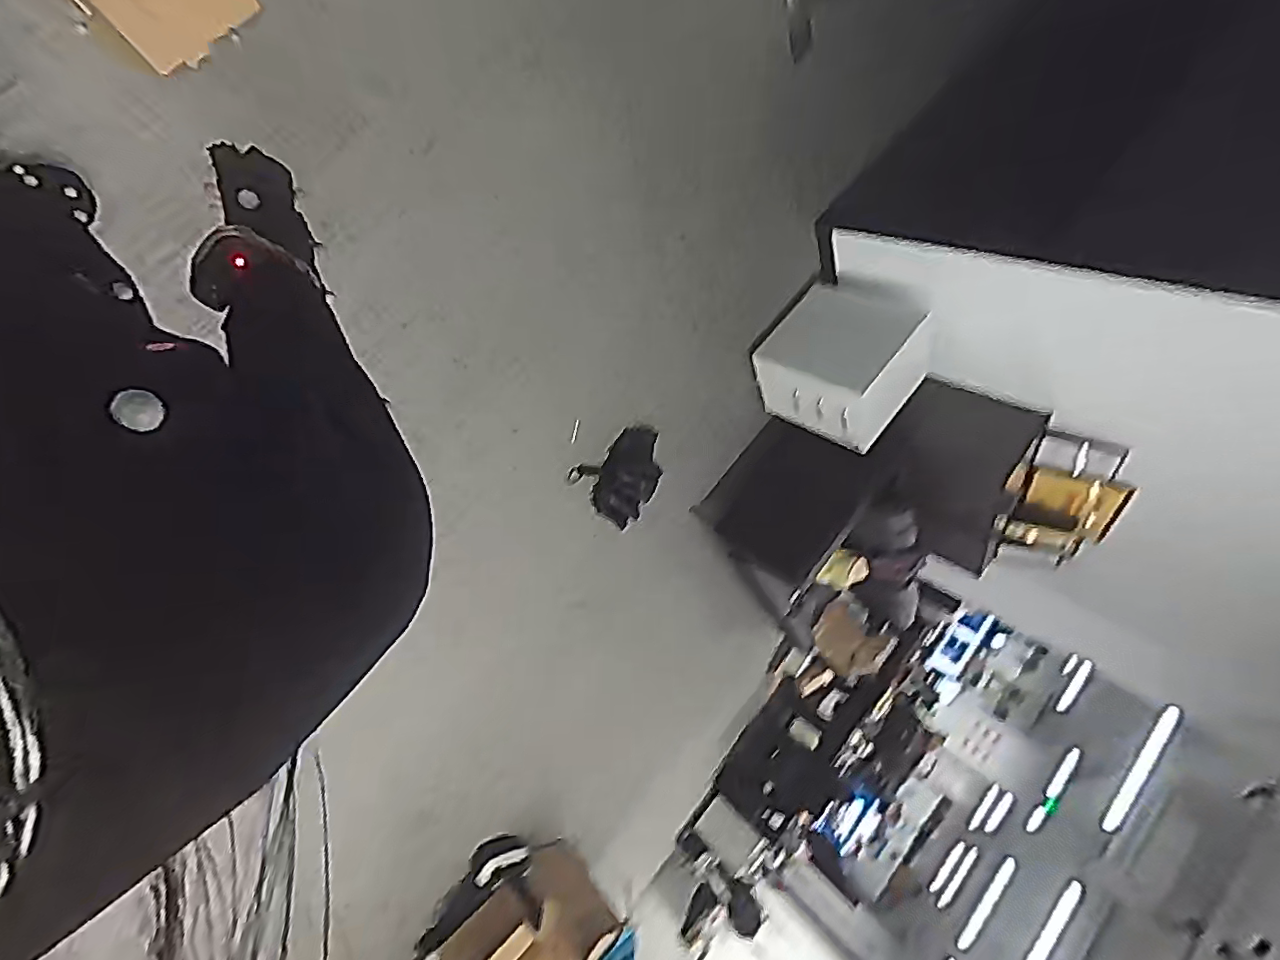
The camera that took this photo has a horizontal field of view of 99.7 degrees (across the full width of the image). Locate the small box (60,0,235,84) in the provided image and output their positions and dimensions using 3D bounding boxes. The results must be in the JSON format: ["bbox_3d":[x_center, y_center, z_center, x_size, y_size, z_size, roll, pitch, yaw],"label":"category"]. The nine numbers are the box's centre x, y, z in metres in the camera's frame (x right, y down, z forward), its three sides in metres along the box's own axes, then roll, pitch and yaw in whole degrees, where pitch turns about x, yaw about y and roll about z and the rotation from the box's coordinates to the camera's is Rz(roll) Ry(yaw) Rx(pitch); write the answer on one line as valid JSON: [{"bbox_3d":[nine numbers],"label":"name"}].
[{"bbox_3d":[-0.786,-0.753,0.837,0.168,0.176,0.179,-47,142,-13],"label":"small box"}]

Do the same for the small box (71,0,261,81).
[{"bbox_3d":[-0.675,-0.683,0.739,0.179,0.176,0.168,-47,140,-11],"label":"small box"}]
